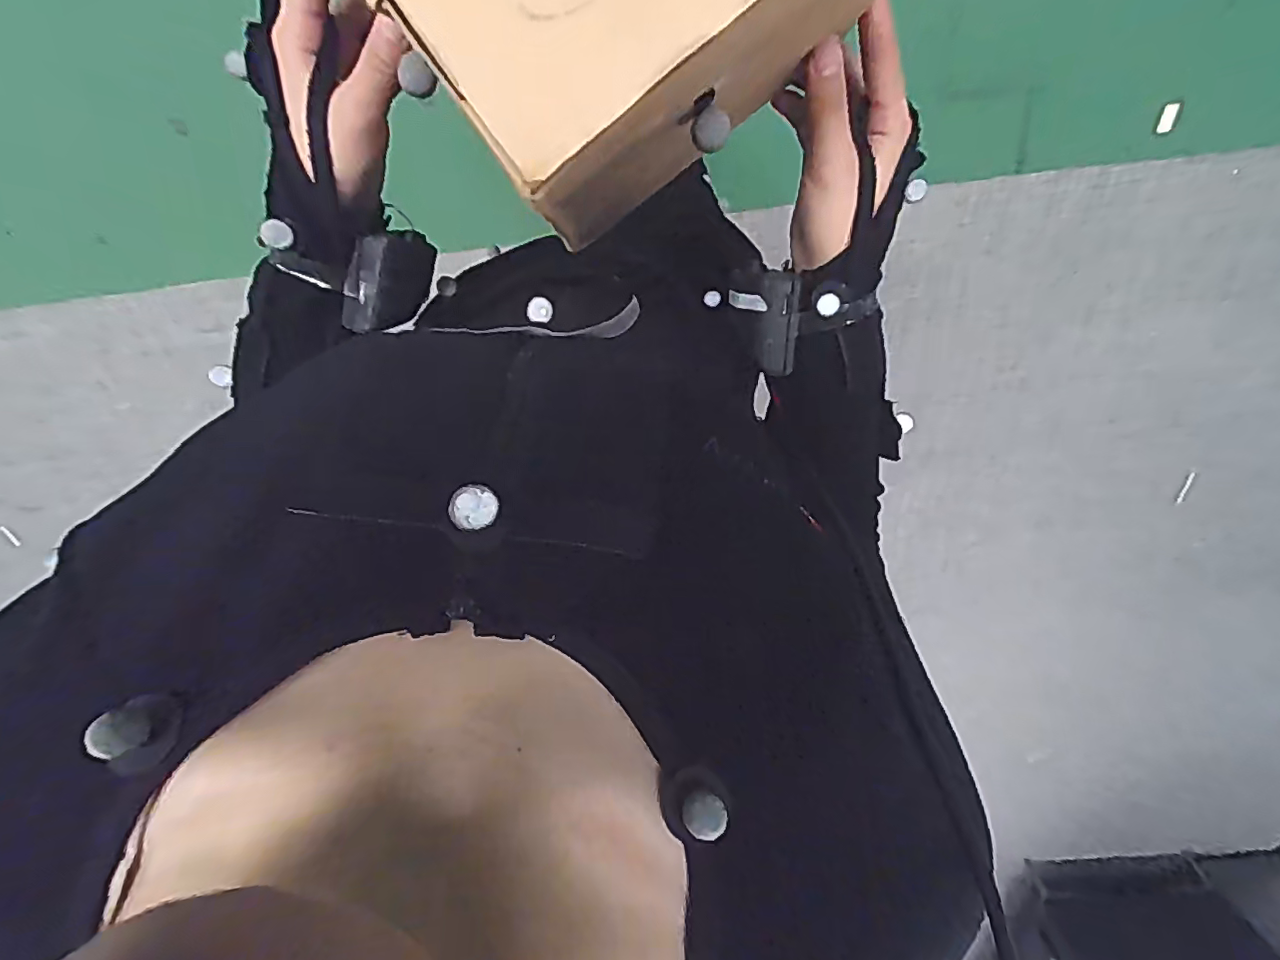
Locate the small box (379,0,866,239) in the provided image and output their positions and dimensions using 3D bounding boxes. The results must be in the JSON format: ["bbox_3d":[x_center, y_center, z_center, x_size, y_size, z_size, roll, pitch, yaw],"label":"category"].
[{"bbox_3d":[-0.011,-0.216,0.200,0.179,0.176,0.168,-35,105,9],"label":"small box"}]
